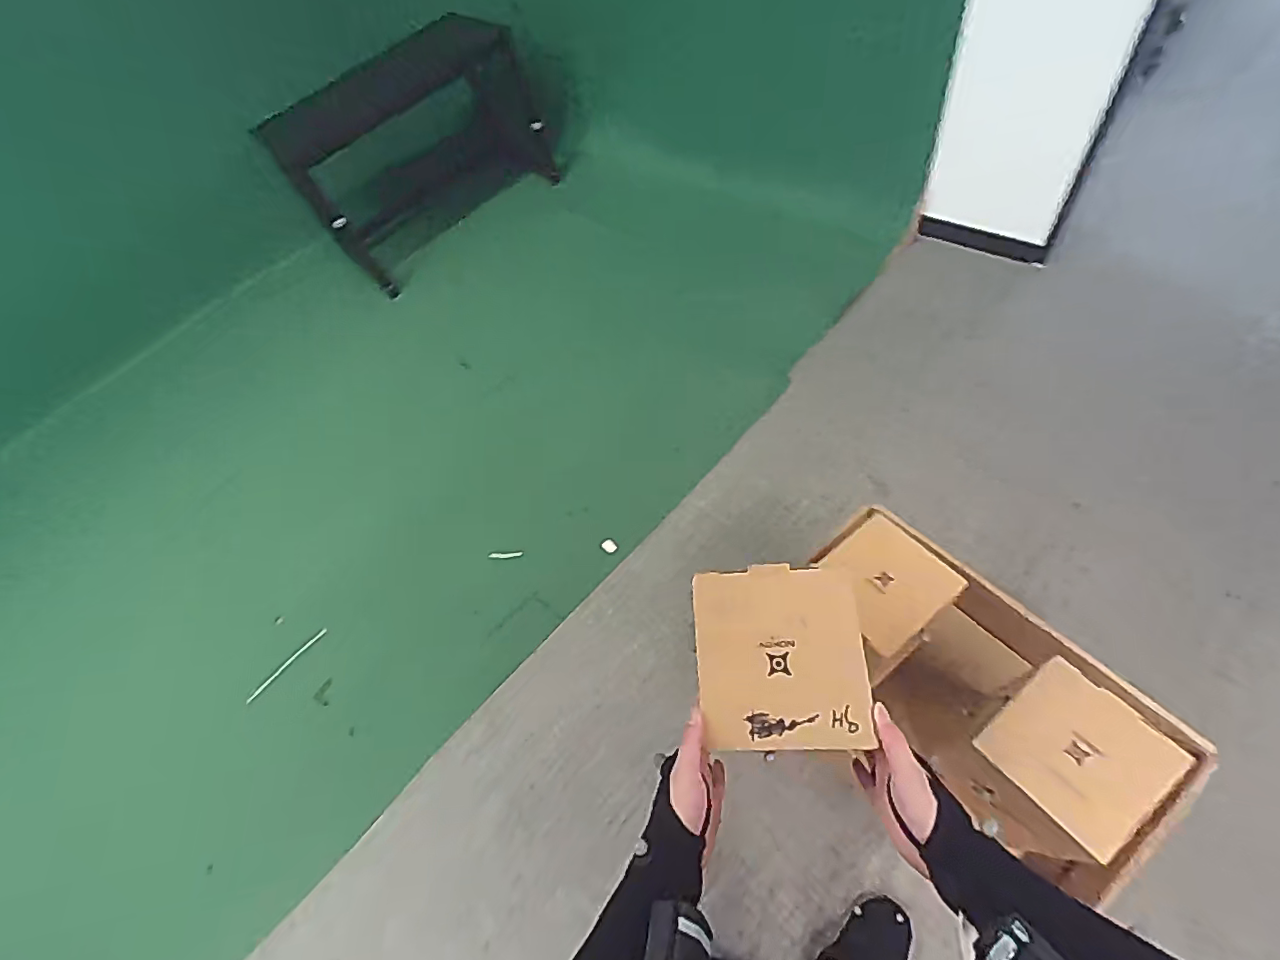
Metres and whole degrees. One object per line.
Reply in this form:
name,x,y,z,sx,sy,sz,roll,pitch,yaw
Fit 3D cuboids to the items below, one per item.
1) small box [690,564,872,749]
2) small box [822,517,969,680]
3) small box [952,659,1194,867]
small box,0.147,0.203,0.615,0.168,0.176,0.179,-5,68,9
small box,0.392,0.199,0.893,0.179,0.176,0.168,-37,57,-9
small box,0.561,0.379,0.733,0.179,0.176,0.168,-38,56,-9
